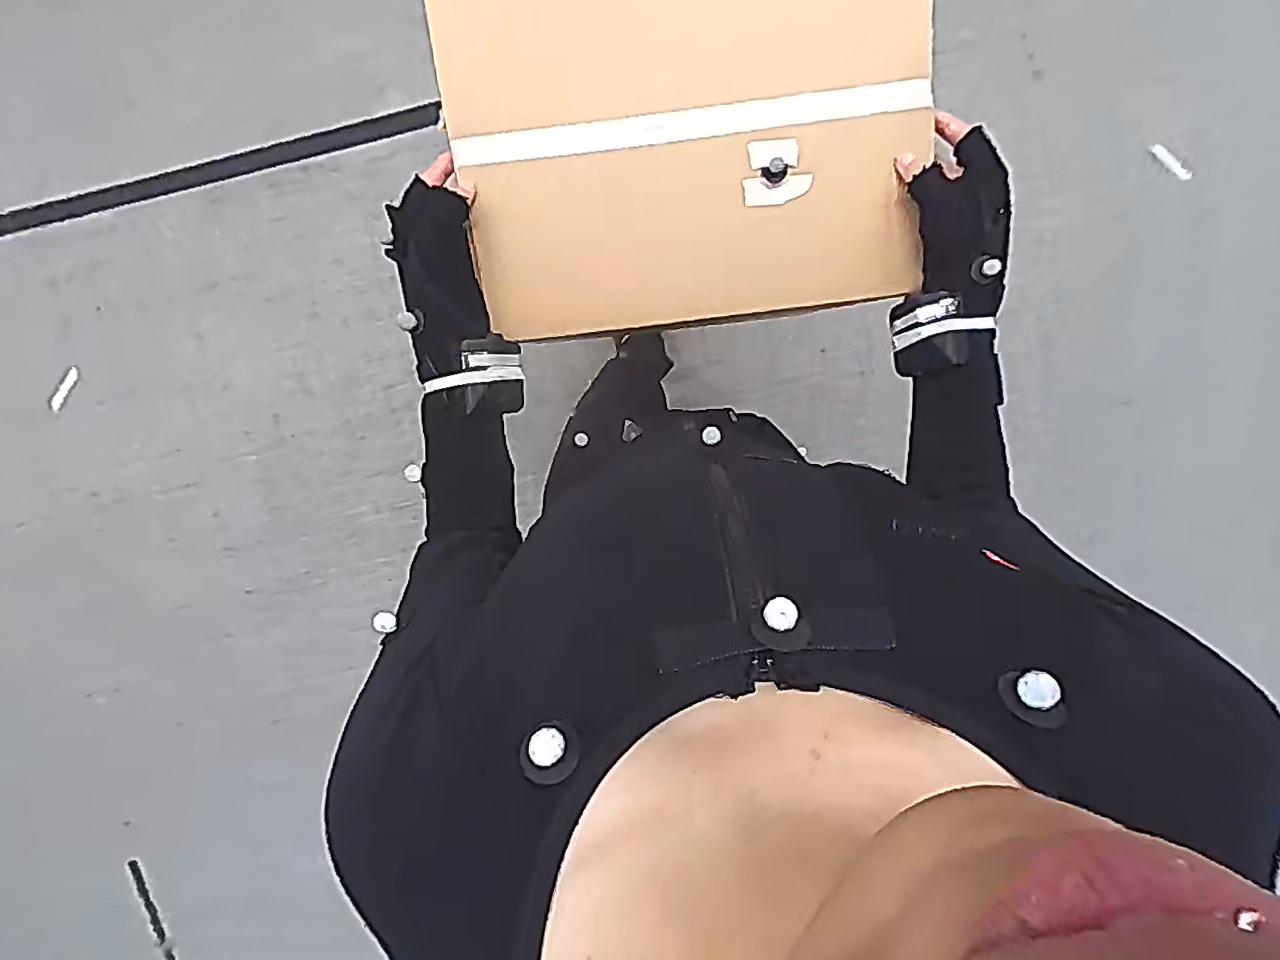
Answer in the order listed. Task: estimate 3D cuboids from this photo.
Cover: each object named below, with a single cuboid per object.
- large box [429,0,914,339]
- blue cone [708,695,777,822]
[{"bbox_3d":[0.032,-0.348,0.612,0.408,0.320,0.320,-7,104,0],"label":"large box"},{"bbox_3d":[0.304,0.769,1.457,0.193,0.380,0.192,9,100,-2],"label":"blue cone"}]
